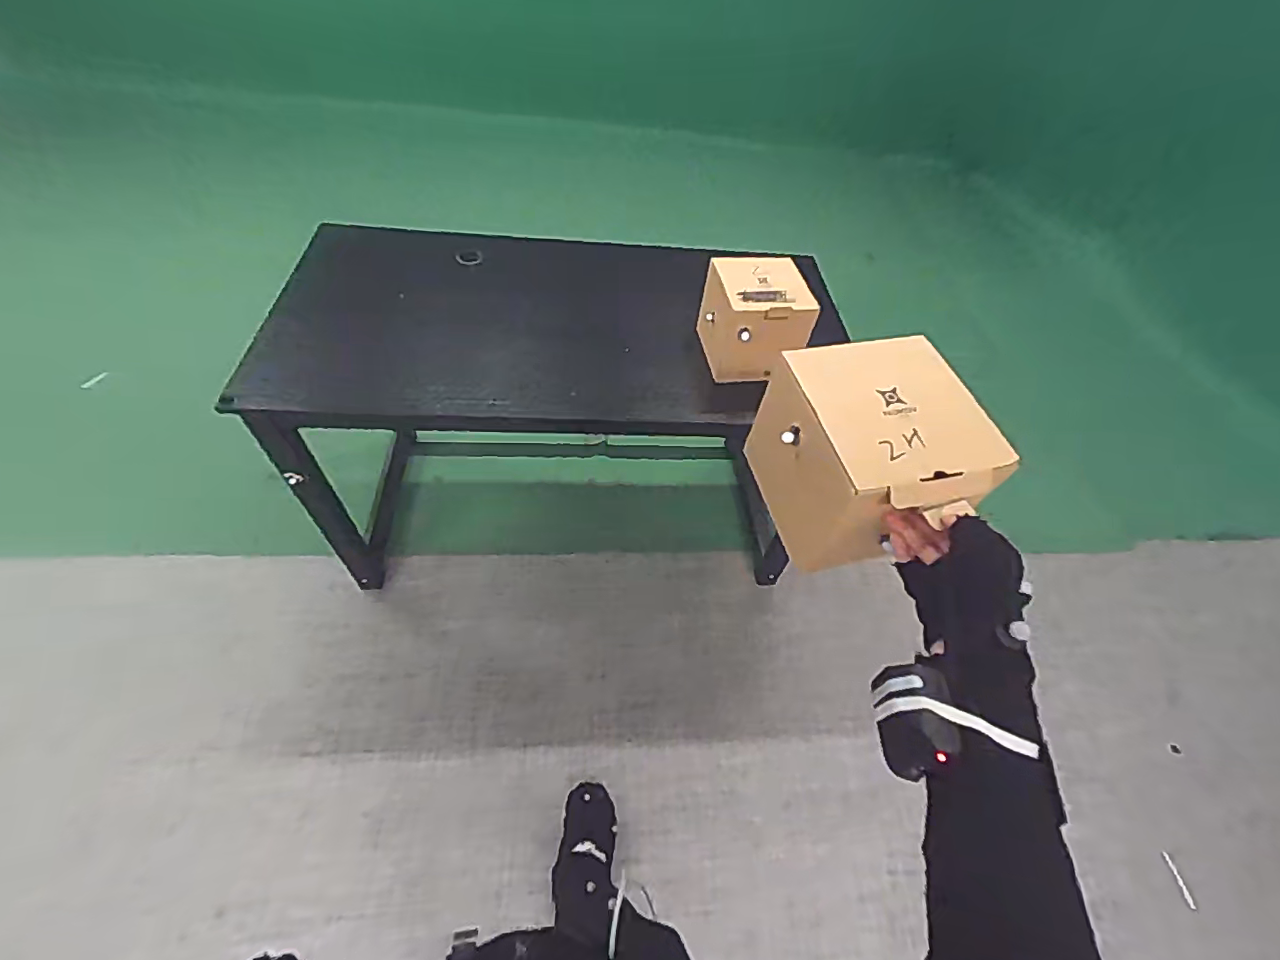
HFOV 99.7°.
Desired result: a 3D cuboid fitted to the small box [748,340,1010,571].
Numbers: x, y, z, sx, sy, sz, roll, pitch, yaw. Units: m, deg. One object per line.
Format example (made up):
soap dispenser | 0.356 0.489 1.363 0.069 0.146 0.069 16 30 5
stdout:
small box | 0.233 -0.024 0.586 0.168 0.176 0.179 -9 58 -11
